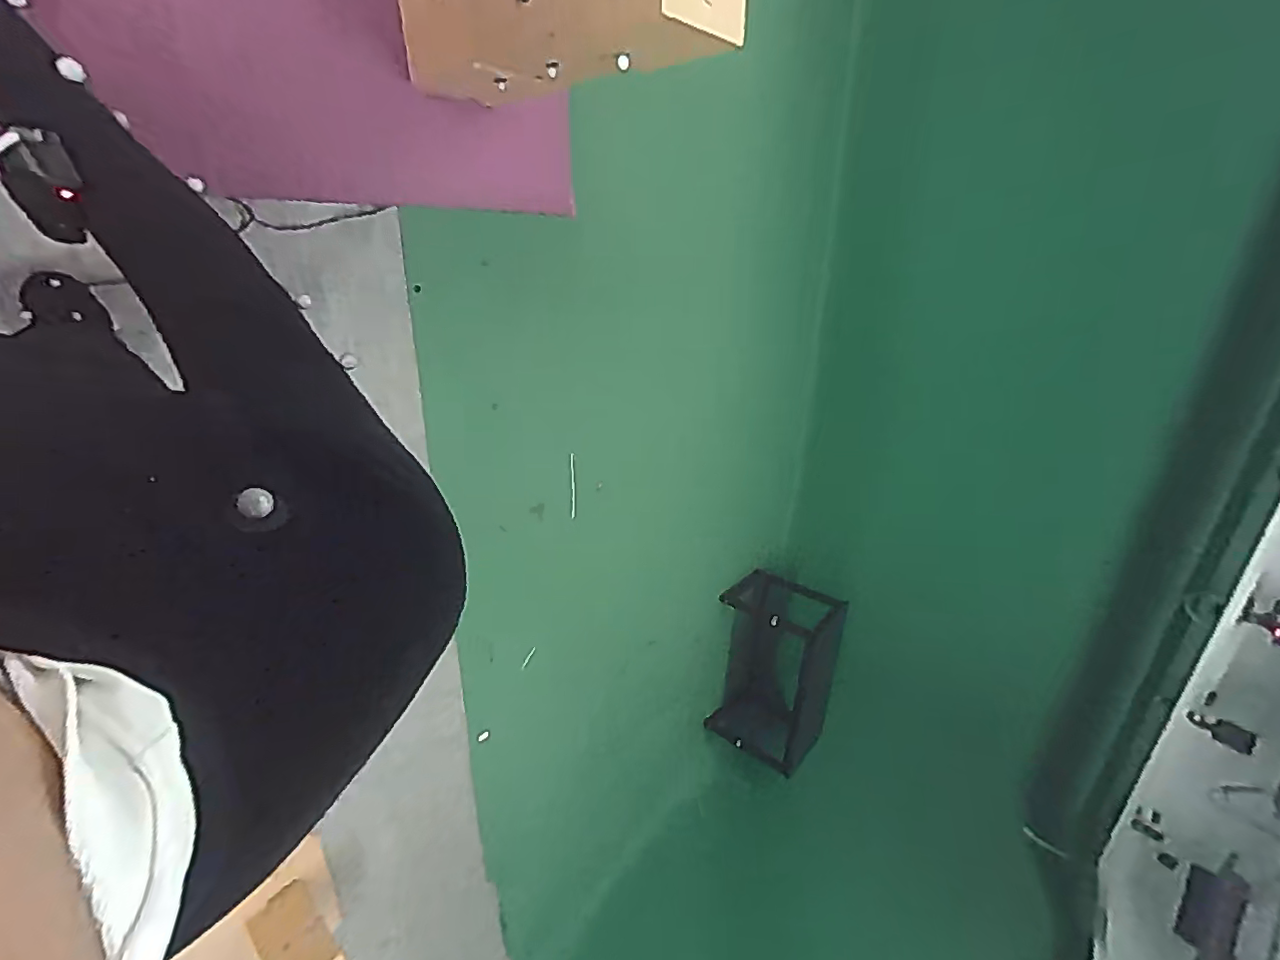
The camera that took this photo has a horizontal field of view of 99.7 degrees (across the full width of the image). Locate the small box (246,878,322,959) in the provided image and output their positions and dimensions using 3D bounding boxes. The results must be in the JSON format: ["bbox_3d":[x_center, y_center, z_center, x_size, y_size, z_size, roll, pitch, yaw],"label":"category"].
[{"bbox_3d":[-1.156,1.474,1.782,0.168,0.176,0.179,-31,127,-42],"label":"small box"}]

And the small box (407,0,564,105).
[{"bbox_3d":[-0.235,-0.695,0.812,0.168,0.176,0.179,-25,122,-43],"label":"small box"}]

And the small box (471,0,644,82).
[{"bbox_3d":[-0.110,-0.655,0.712,0.168,0.176,0.179,-24,122,-46],"label":"small box"}]

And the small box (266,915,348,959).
[{"bbox_3d":[-1.030,1.517,1.686,0.168,0.176,0.179,-27,126,-44],"label":"small box"}]
